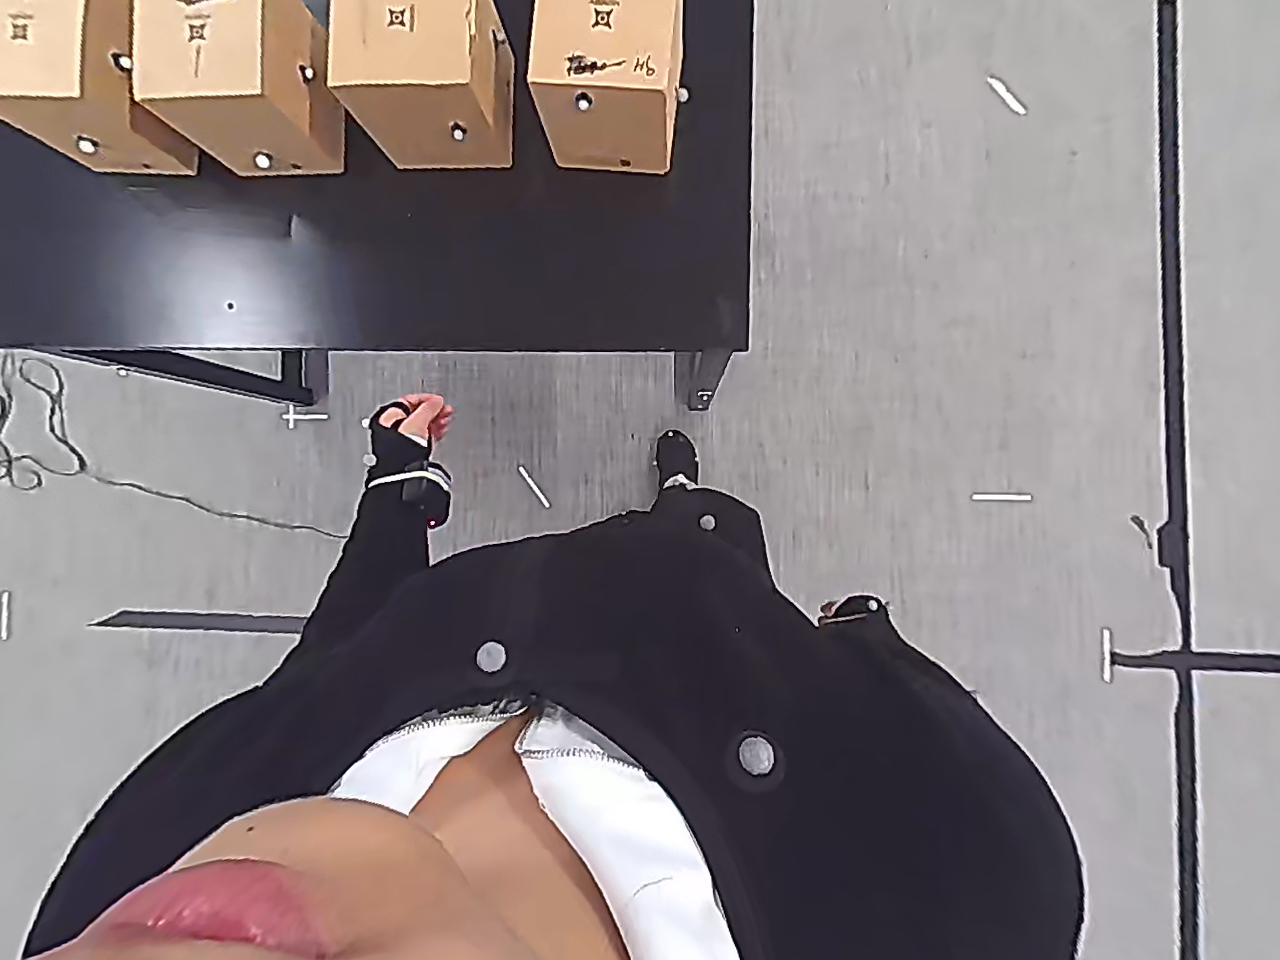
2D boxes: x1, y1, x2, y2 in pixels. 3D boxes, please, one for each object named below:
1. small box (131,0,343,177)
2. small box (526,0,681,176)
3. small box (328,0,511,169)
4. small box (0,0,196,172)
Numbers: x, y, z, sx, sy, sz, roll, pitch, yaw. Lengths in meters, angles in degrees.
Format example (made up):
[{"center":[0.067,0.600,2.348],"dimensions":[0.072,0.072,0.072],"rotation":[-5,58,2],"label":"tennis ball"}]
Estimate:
[{"center":[-0.527,-0.543,0.730],"dimensions":[0.168,0.176,0.179],"rotation":[0,90,2],"label":"small box"},{"center":[-0.038,-0.536,0.704],"dimensions":[0.168,0.176,0.179],"rotation":[6,88,4],"label":"small box"},{"center":[-0.279,-0.541,0.719],"dimensions":[0.179,0.176,0.168],"rotation":[1,88,4],"label":"small box"},{"center":[-0.751,-0.553,0.743],"dimensions":[0.168,0.176,0.179],"rotation":[4,89,2],"label":"small box"}]
